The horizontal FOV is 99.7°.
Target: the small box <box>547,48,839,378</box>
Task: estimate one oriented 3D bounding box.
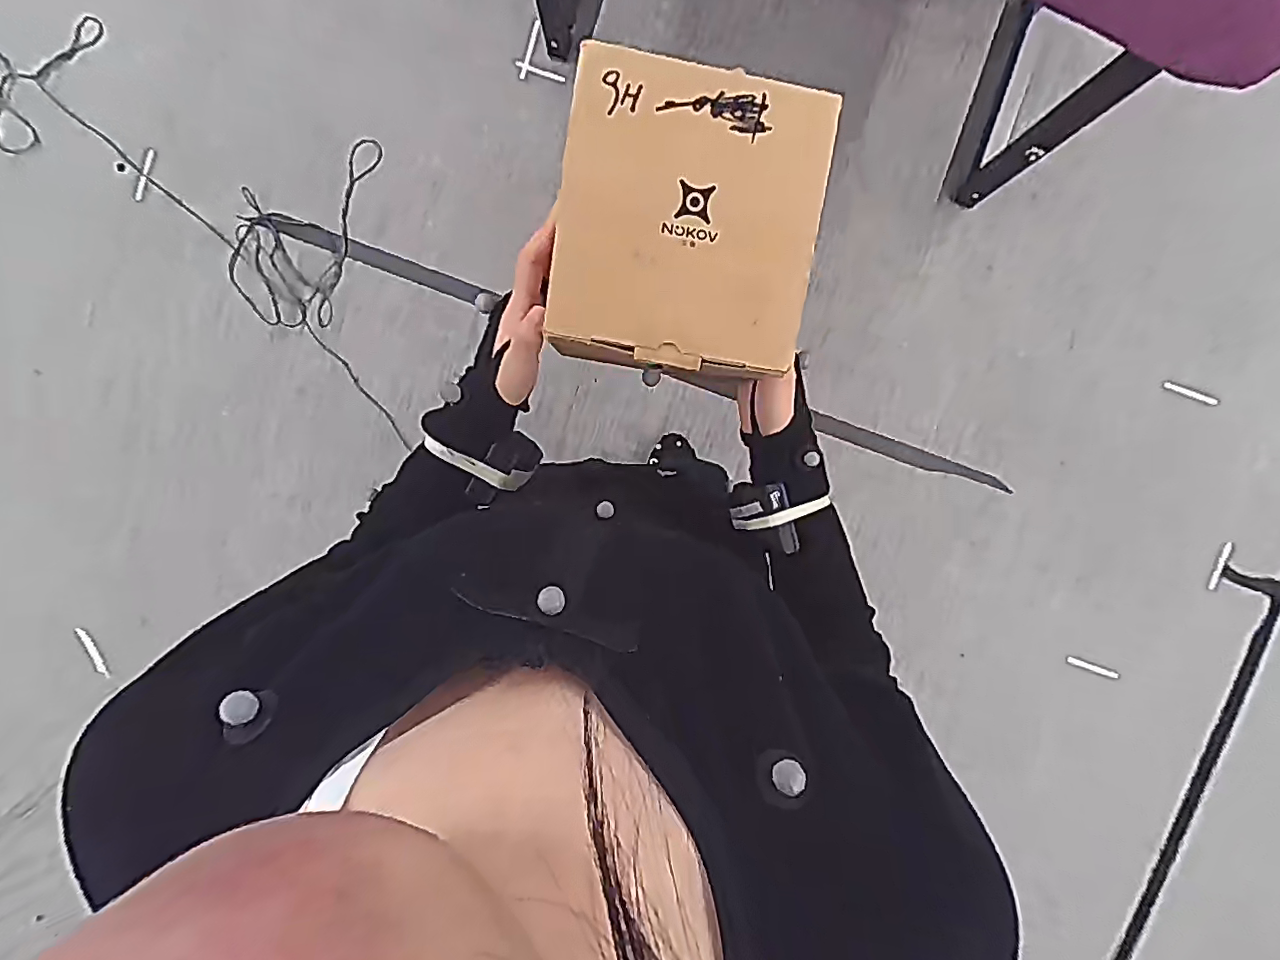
[{"bbox_3d":[0.028,-0.179,0.426,0.168,0.176,0.179,8,98,-6],"label":"small box"}]
